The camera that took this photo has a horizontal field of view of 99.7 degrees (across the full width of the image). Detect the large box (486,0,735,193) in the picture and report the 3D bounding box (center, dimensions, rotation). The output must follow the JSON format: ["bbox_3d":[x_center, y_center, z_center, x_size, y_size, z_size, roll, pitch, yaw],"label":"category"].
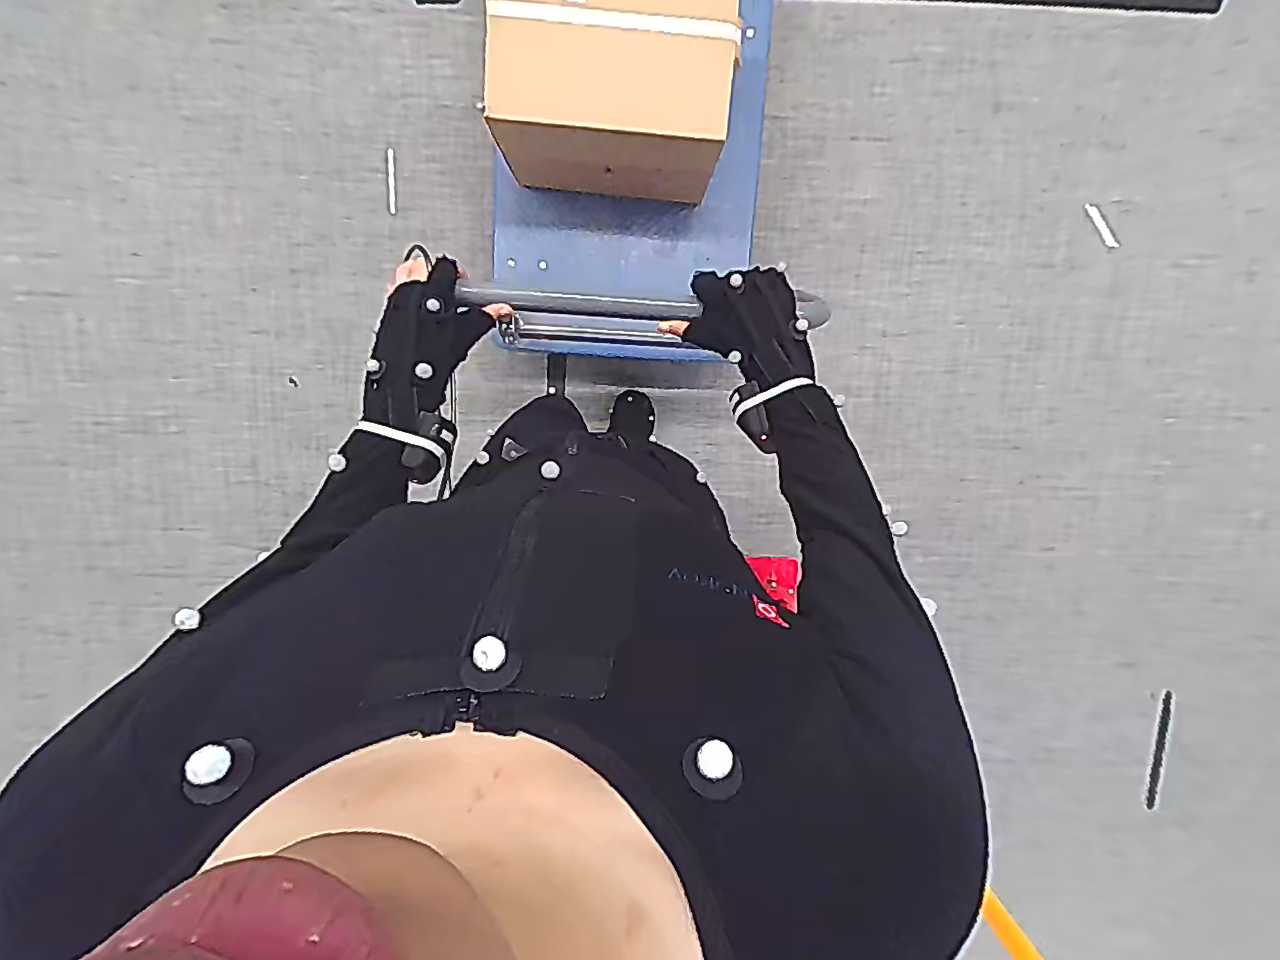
[{"bbox_3d":[-0.048,-0.763,1.018,0.408,0.320,0.320,4,99,-2],"label":"large box"}]

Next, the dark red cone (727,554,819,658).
[{"bbox_3d":[0.351,0.331,1.336,0.201,0.394,0.202,1,100,-3],"label":"dark red cone"}]
